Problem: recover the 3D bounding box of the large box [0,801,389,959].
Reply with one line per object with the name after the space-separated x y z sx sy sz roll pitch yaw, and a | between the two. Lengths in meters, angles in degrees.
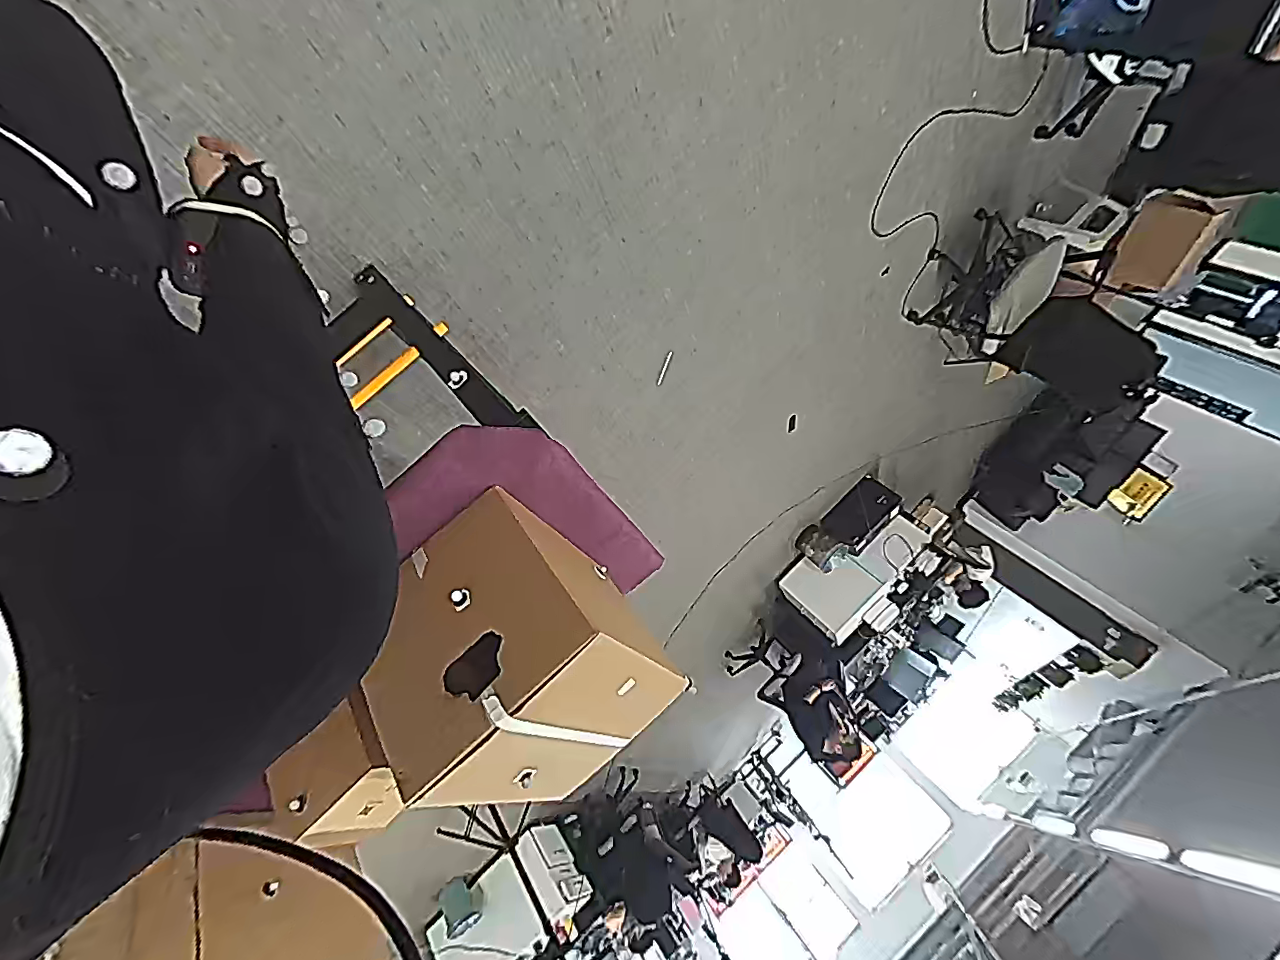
-0.697 0.751 0.836 0.320 0.320 0.408 -43 147 -4 | large box
